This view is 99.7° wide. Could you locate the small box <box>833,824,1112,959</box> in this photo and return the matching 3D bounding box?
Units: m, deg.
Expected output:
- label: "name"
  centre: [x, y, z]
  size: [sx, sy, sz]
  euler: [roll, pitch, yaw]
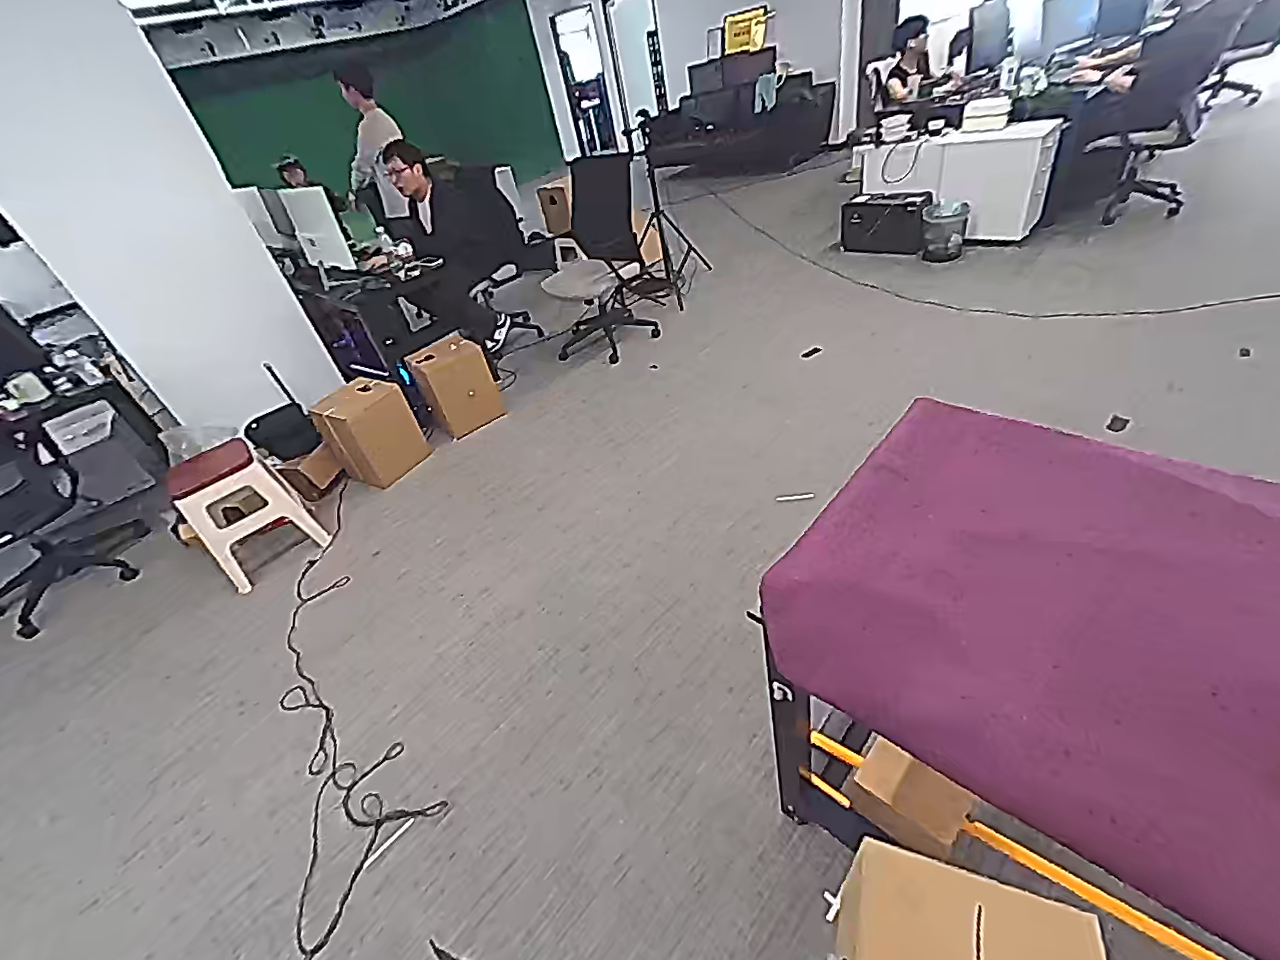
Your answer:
- label: "small box"
  centre: [0.243, 0.417, 0.419]
  size: [0.168, 0.176, 0.179]
  euler: [9, 42, 20]
